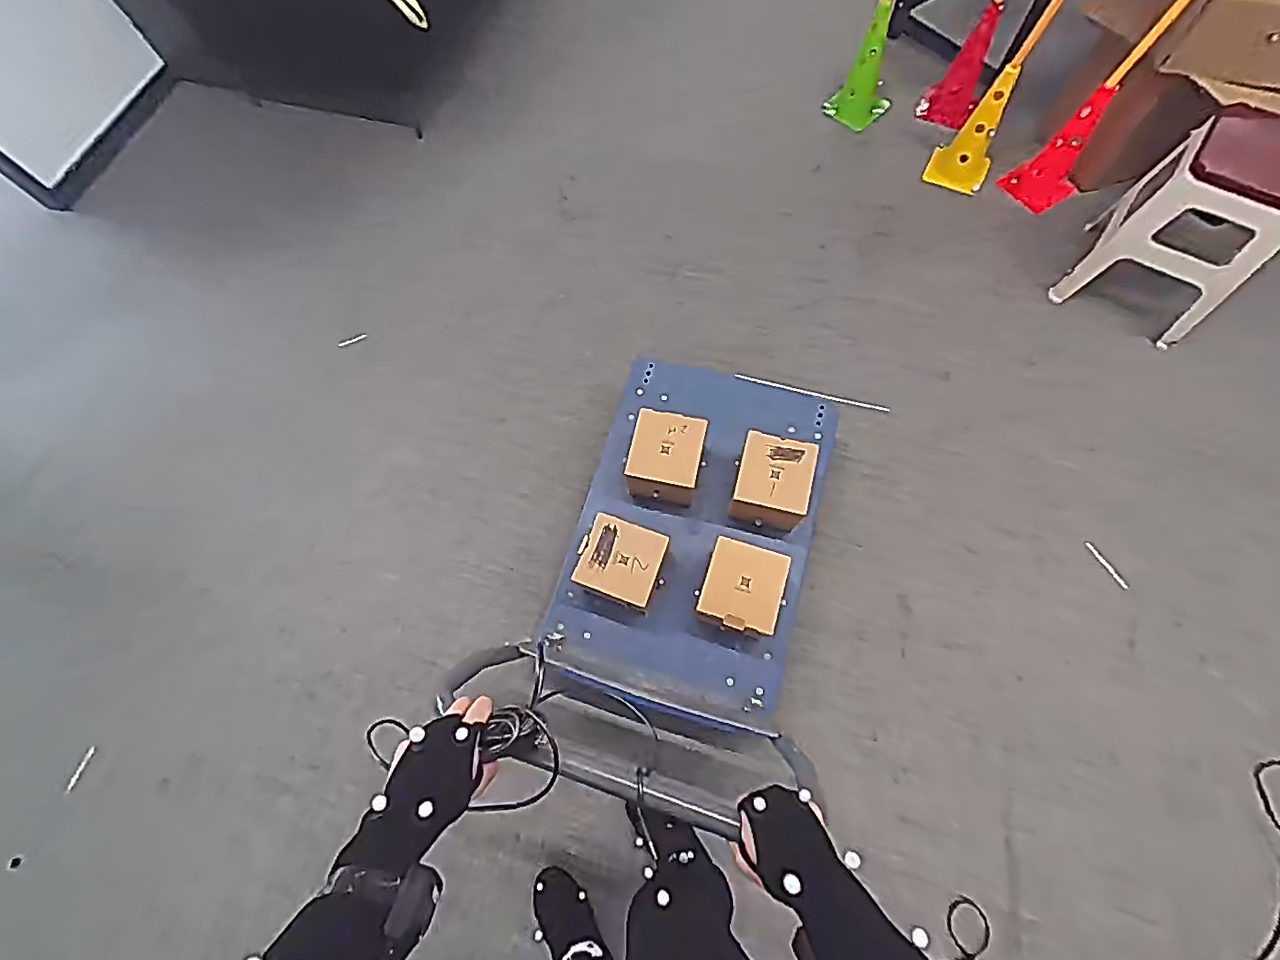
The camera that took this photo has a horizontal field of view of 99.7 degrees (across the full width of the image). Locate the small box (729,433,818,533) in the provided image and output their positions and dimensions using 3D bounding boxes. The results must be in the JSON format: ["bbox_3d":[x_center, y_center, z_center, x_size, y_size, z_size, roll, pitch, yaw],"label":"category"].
[{"bbox_3d":[0.314,0.011,1.299,0.168,0.176,0.179,13,74,9],"label":"small box"}]

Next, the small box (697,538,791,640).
[{"bbox_3d":[0.228,0.252,1.227,0.168,0.176,0.179,16,74,9],"label":"small box"}]

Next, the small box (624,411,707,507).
[{"bbox_3d":[0.066,-0.045,1.335,0.168,0.176,0.179,12,73,7],"label":"small box"}]
